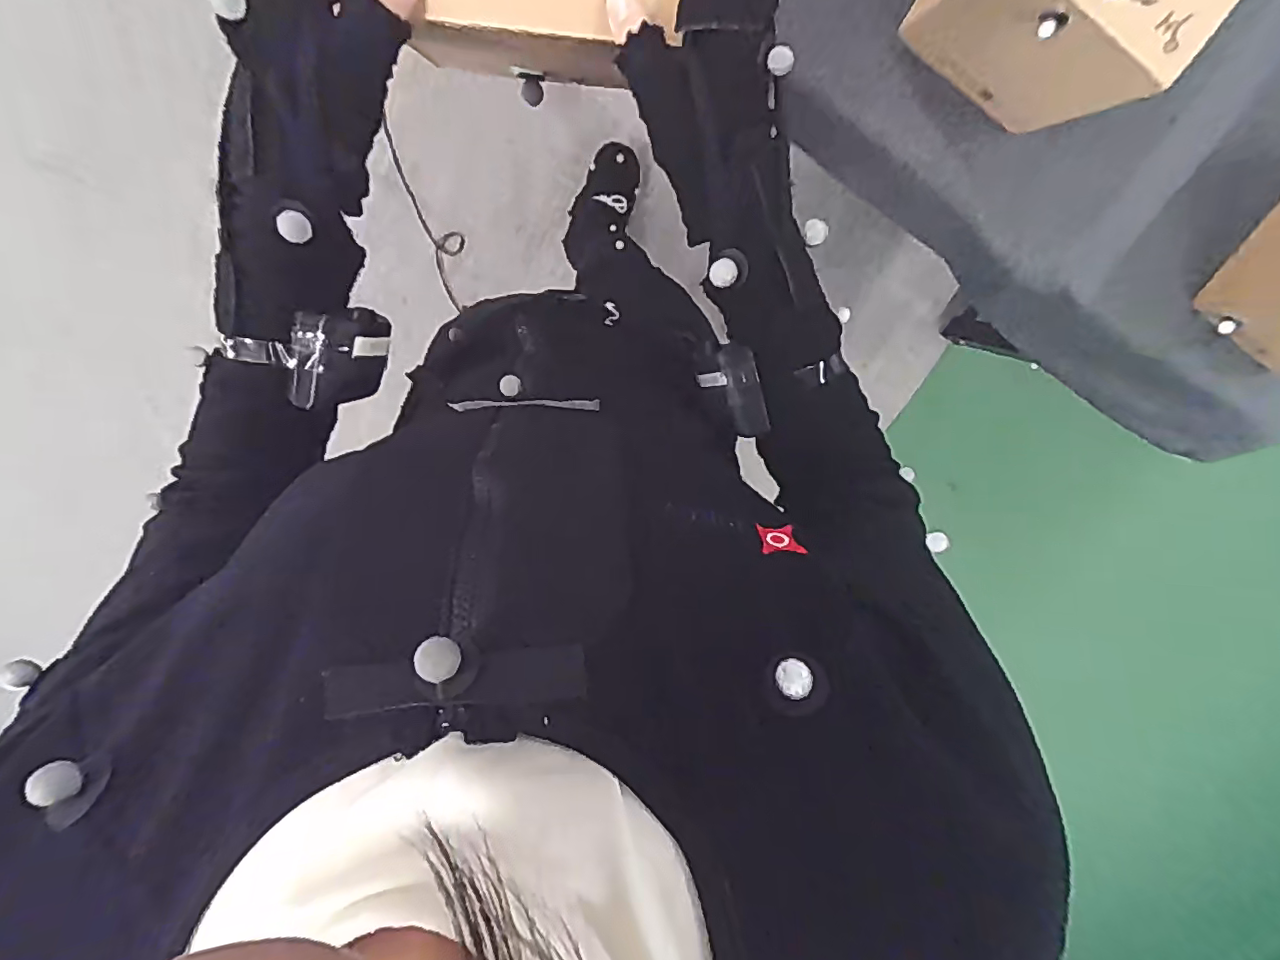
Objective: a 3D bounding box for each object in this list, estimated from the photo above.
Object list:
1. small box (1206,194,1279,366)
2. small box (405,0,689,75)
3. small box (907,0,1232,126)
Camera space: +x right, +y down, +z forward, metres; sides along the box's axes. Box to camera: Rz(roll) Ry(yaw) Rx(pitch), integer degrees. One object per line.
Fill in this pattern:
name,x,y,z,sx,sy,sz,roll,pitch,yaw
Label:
small box,0.748,-0.213,0.546,0.168,0.176,0.179,27,107,-14
small box,-0.053,-0.341,0.280,0.168,0.176,0.179,4,119,-6
small box,0.359,-0.430,0.431,0.168,0.176,0.179,27,108,-13
